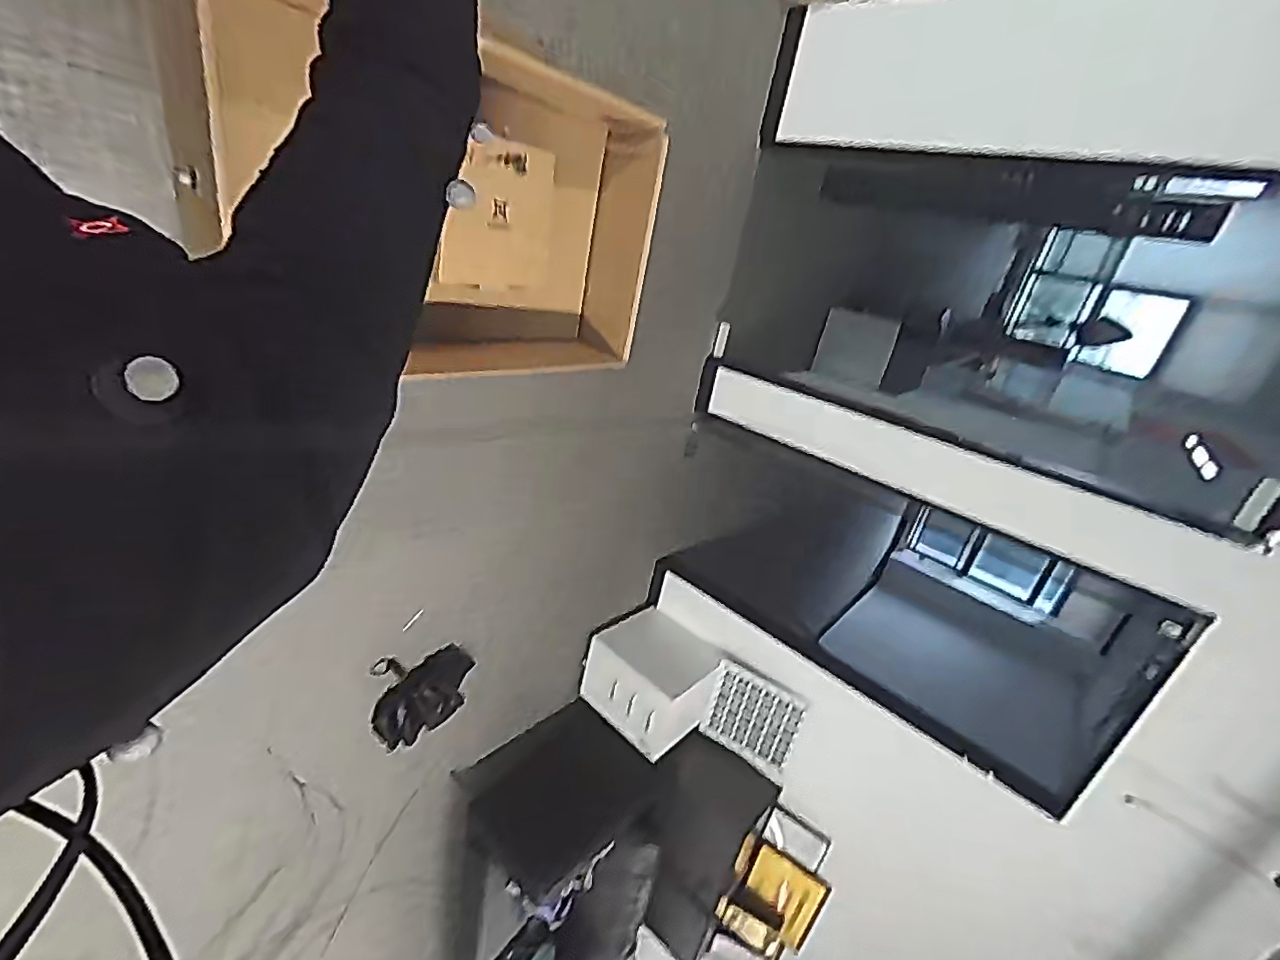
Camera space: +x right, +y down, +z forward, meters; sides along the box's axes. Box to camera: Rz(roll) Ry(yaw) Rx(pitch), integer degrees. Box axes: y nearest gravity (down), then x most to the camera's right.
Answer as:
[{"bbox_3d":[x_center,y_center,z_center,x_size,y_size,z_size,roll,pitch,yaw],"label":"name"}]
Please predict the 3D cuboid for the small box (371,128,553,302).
[{"bbox_3d":[-0.242,-0.350,0.728,0.168,0.176,0.179,-19,129,-48],"label":"small box"}]
